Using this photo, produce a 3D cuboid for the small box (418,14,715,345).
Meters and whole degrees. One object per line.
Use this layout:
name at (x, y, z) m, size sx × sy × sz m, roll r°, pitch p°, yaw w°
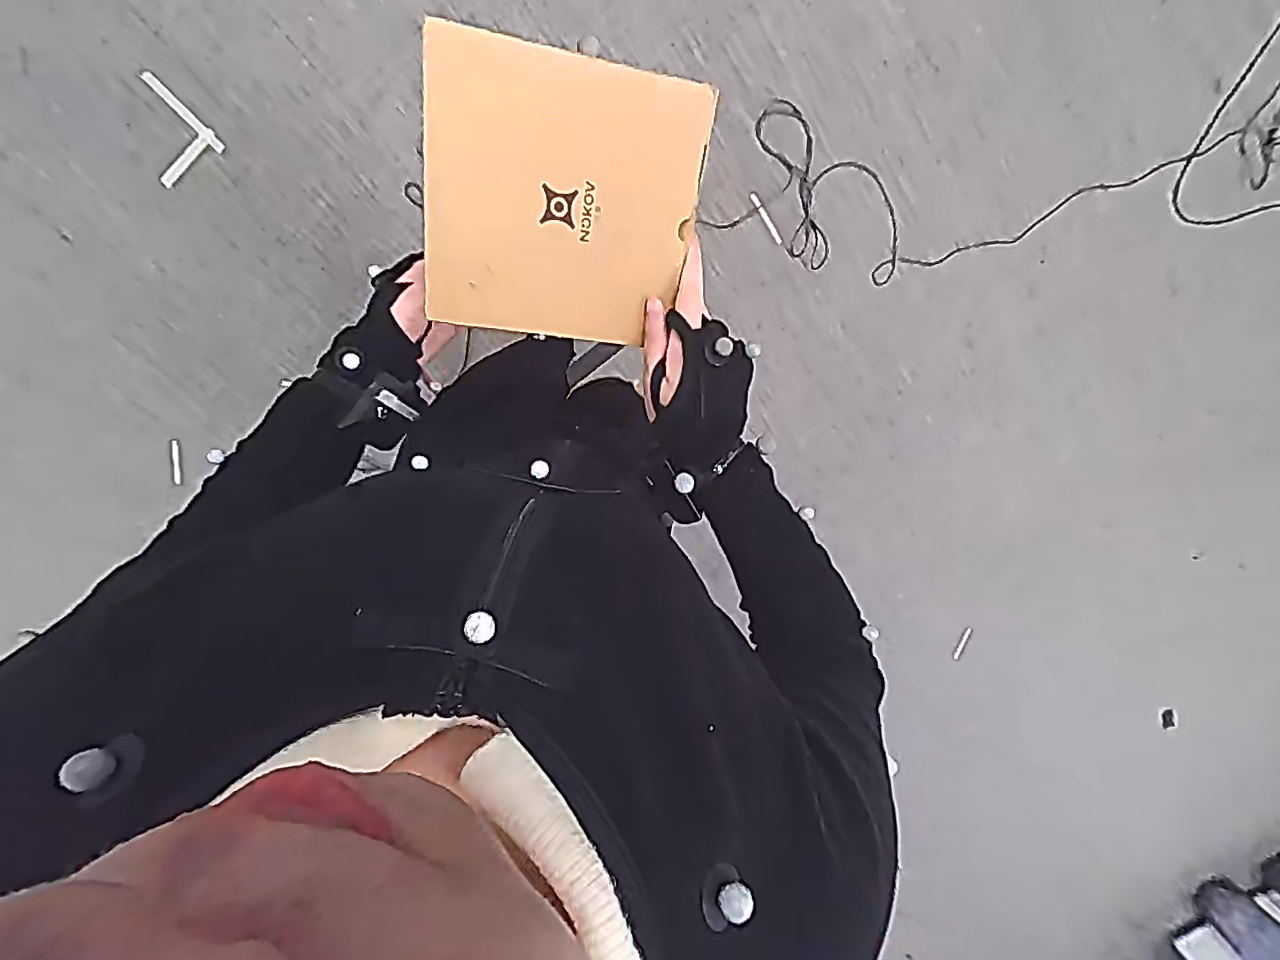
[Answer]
small box at (-0.065, -0.213, 0.419) m, size 0.179 × 0.176 × 0.168 m, roll 3°, pitch 116°, yaw -14°
